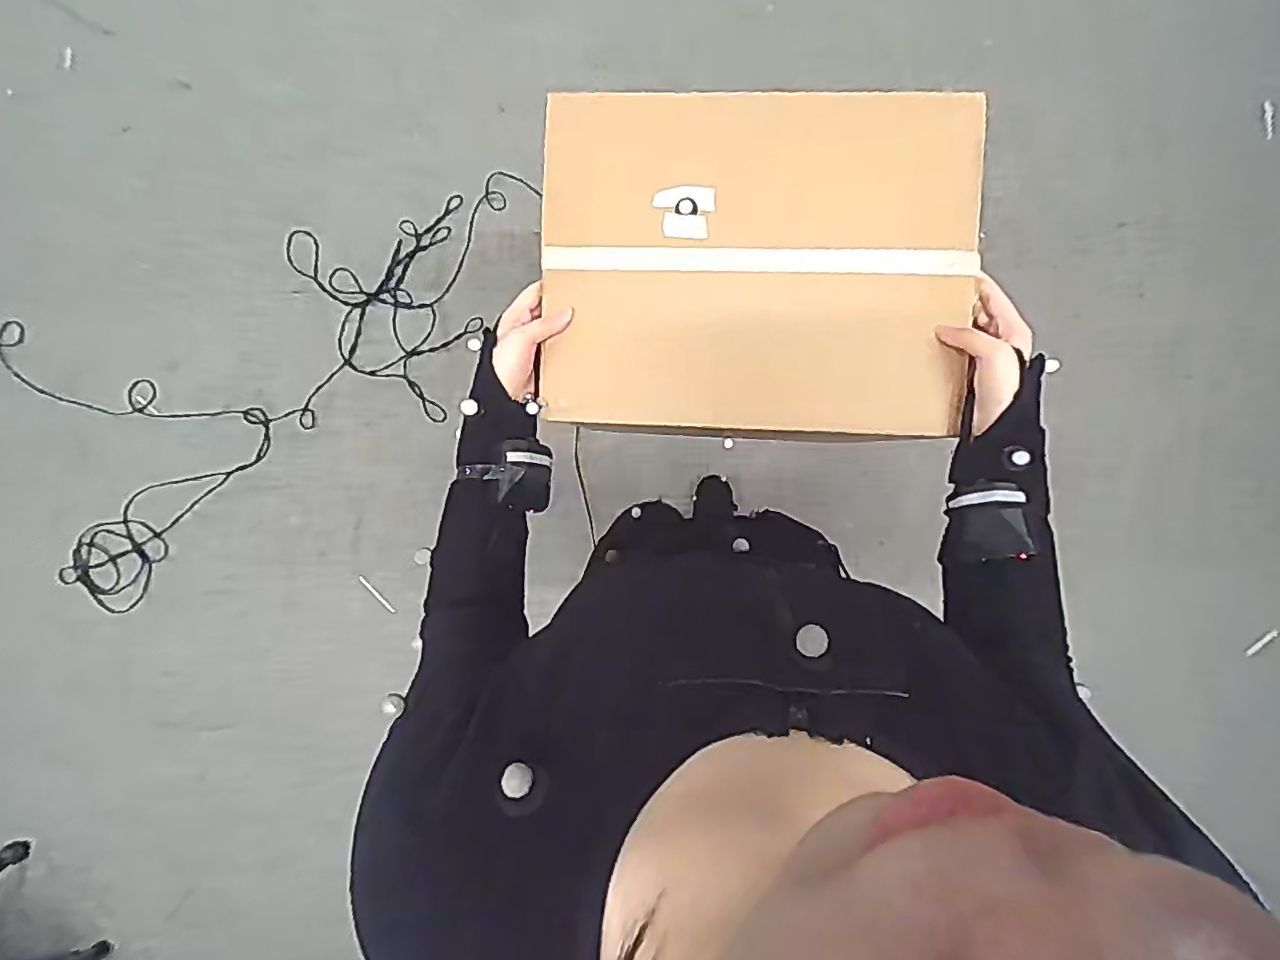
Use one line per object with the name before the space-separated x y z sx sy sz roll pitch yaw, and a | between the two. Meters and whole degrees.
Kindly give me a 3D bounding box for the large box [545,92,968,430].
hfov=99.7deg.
large box | 0.119 -0.220 0.673 0.408 0.320 0.320 2 93 6
